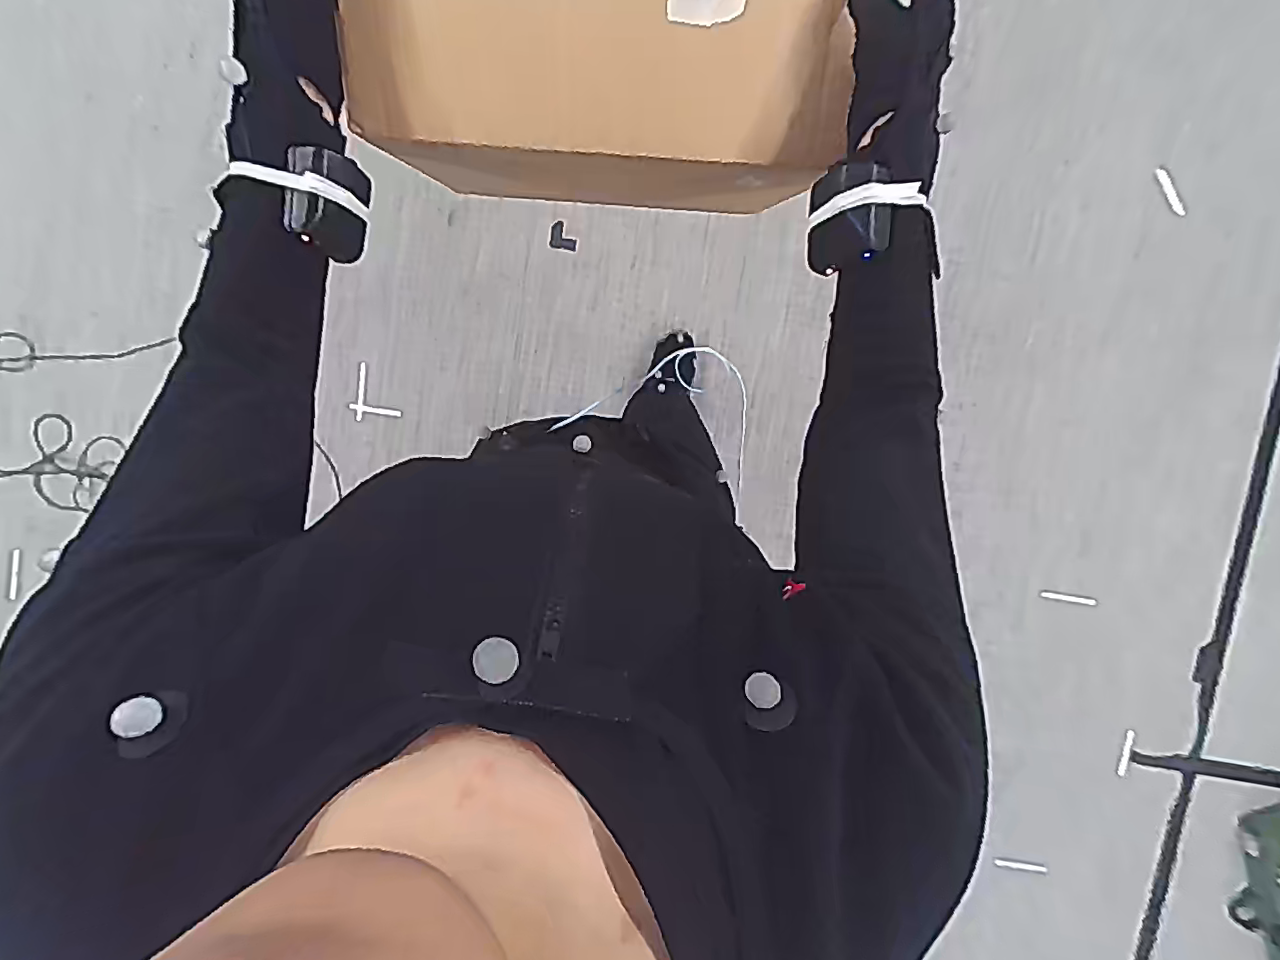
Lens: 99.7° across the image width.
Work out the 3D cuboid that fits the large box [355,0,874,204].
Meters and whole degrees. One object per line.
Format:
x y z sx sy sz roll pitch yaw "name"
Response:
-0.022 -0.472 0.531 0.408 0.320 0.320 2 110 -4 "large box"
